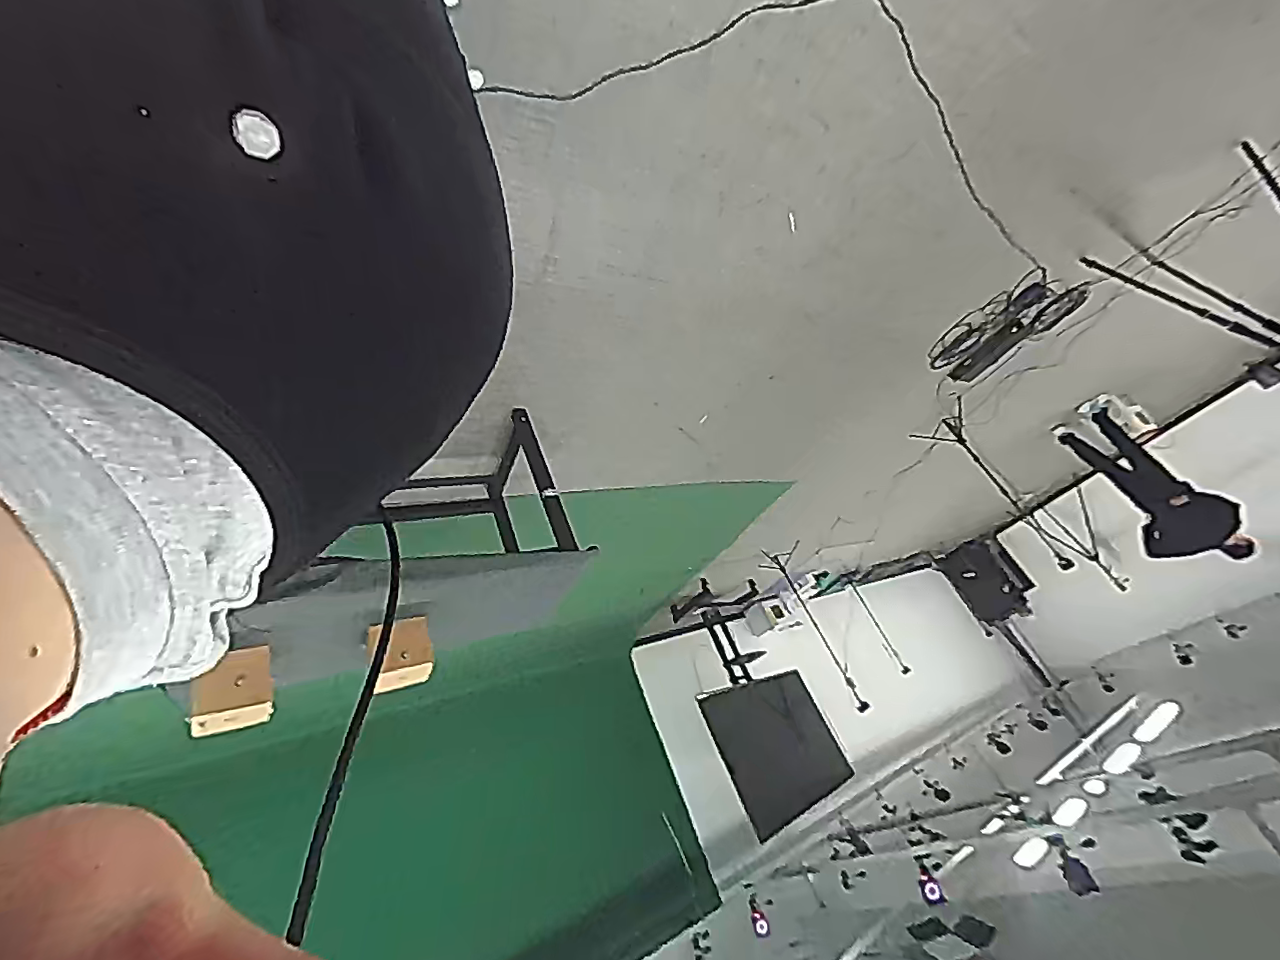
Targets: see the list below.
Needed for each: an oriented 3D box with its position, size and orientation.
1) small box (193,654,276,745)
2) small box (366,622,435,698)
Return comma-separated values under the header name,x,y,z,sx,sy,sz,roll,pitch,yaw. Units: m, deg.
name,x,y,z,sx,sy,sz,roll,pitch,yaw
small box,-1.143,0.609,1.520,0.179,0.176,0.168,-1,142,-39
small box,-0.789,0.585,1.774,0.179,0.176,0.168,-4,143,-33
